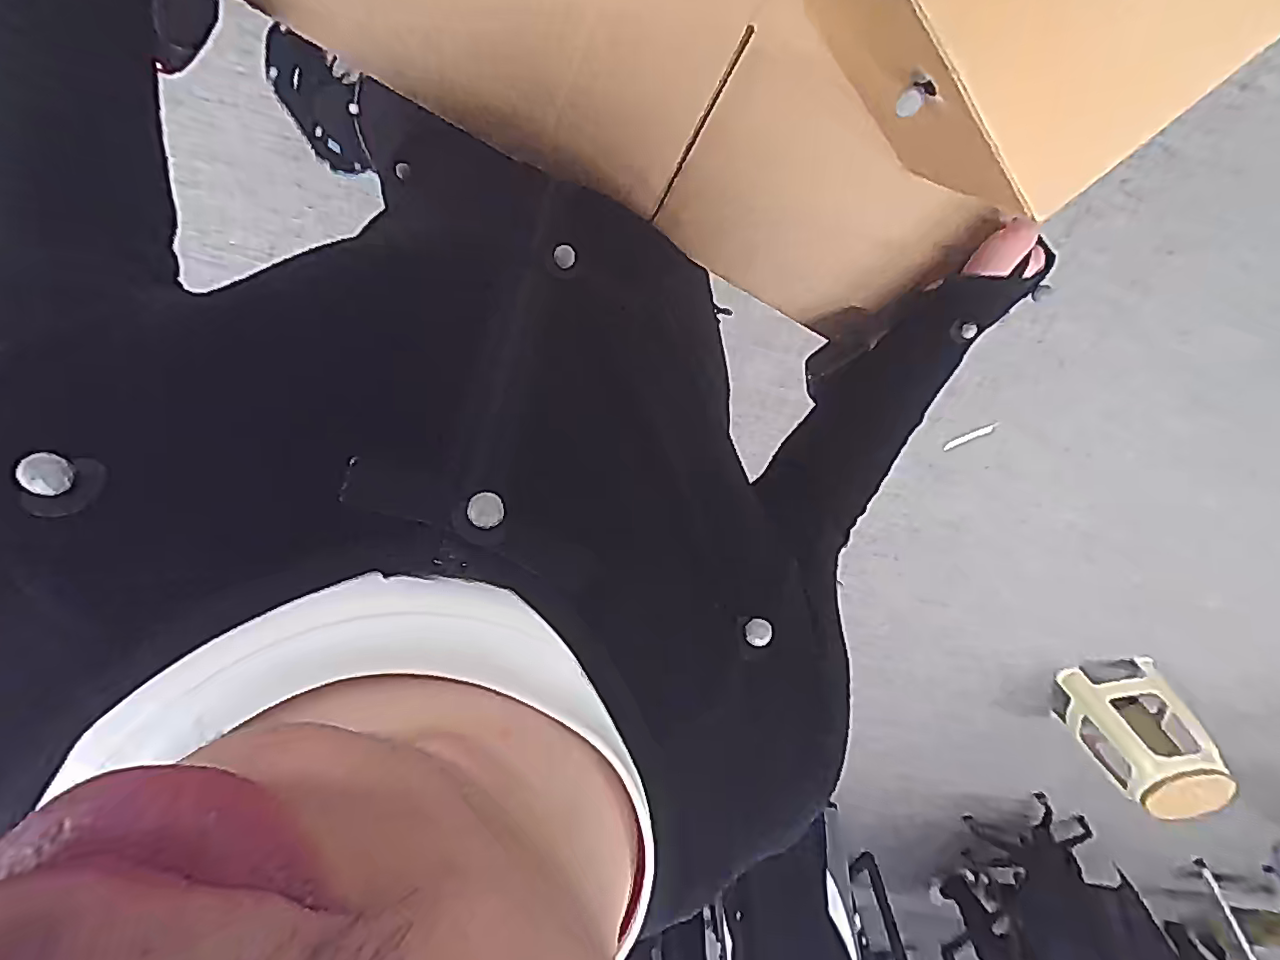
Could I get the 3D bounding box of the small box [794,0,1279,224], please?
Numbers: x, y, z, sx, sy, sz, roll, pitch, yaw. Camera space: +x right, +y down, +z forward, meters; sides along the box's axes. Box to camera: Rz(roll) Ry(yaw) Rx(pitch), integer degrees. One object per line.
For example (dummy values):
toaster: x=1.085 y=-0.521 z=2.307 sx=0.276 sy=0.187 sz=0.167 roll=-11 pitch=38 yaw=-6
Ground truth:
small box: x=0.219 y=-0.294 z=0.315 sx=0.179 sy=0.176 sz=0.168 roll=36 pitch=119 yaw=-25
